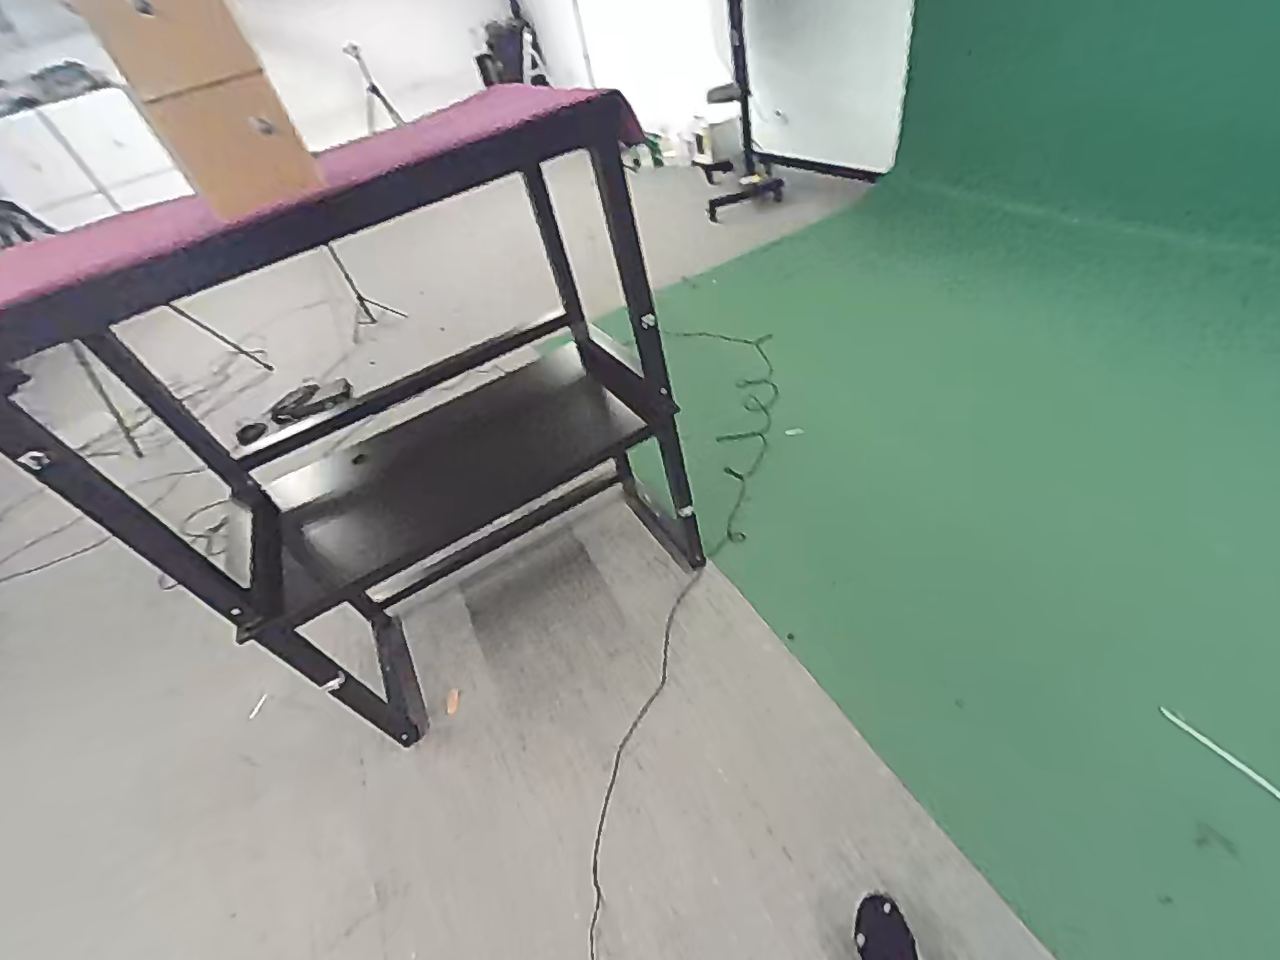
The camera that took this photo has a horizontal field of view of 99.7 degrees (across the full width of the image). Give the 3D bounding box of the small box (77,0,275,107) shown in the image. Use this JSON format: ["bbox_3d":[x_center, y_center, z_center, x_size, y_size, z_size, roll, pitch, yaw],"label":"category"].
[{"bbox_3d":[-0.688,-0.677,0.803,0.179,0.176,0.168,-28,43,-11],"label":"small box"}]
